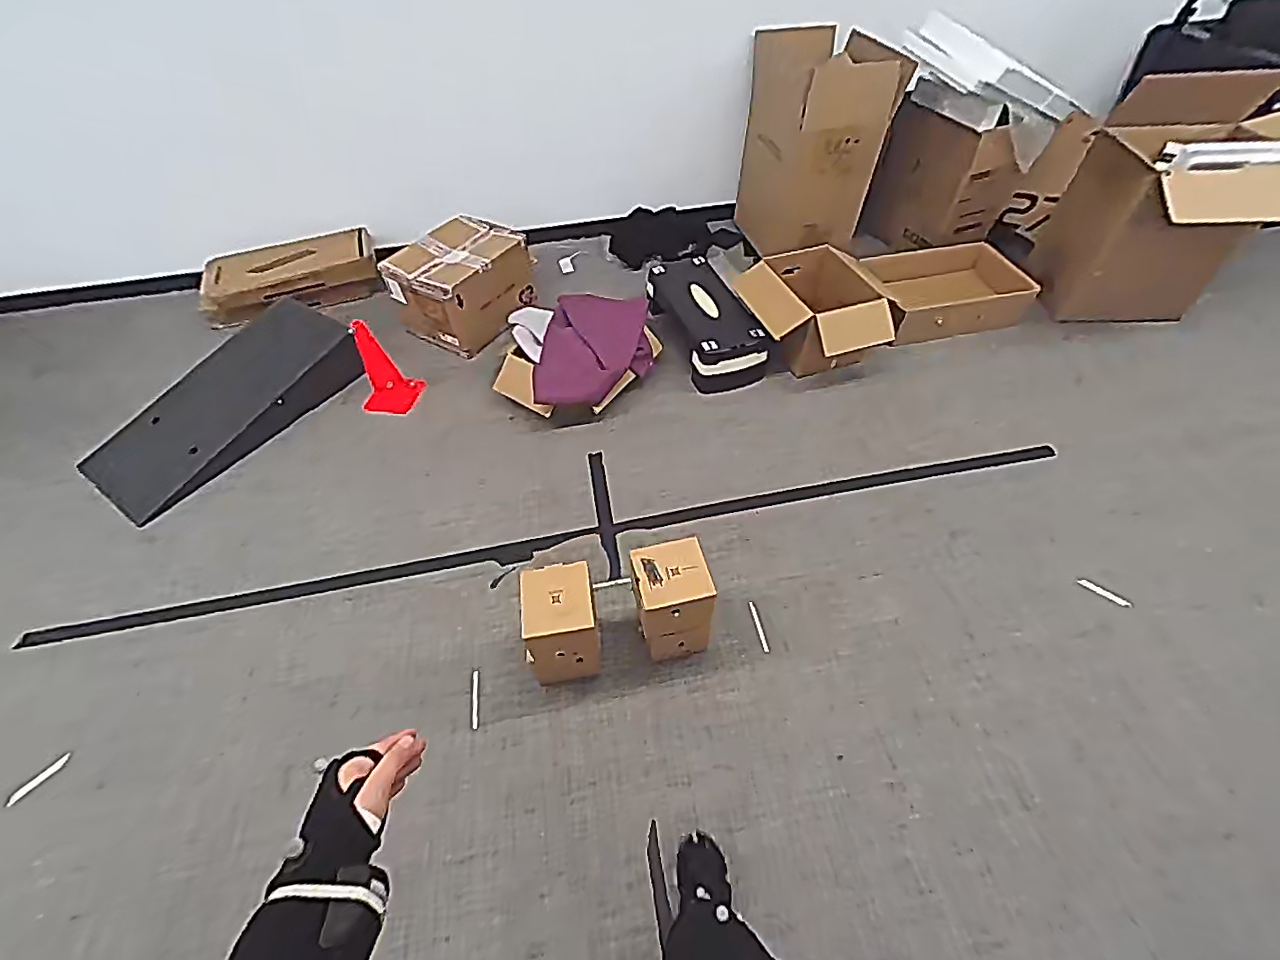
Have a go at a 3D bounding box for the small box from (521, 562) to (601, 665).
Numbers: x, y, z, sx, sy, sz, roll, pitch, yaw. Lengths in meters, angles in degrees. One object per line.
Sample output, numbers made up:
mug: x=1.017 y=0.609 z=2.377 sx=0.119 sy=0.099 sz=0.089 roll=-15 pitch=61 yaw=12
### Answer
small box: x=-0.192 y=0.326 z=1.314 sx=0.168 sy=0.176 sz=0.179 roll=-9 pitch=53 yaw=-4

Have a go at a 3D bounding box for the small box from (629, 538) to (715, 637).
small box: x=0.077 y=0.271 z=1.346 sx=0.179 sy=0.176 sz=0.168 roll=-11 pitch=52 yaw=-8

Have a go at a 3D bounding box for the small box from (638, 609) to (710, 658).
small box: x=0.087 y=0.371 z=1.478 sx=0.168 sy=0.176 sz=0.179 roll=-12 pitch=53 yaw=-7

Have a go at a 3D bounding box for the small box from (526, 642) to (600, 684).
small box: x=-0.203 y=0.427 z=1.442 sx=0.179 sy=0.176 sz=0.168 roll=-9 pitch=52 yaw=-4
